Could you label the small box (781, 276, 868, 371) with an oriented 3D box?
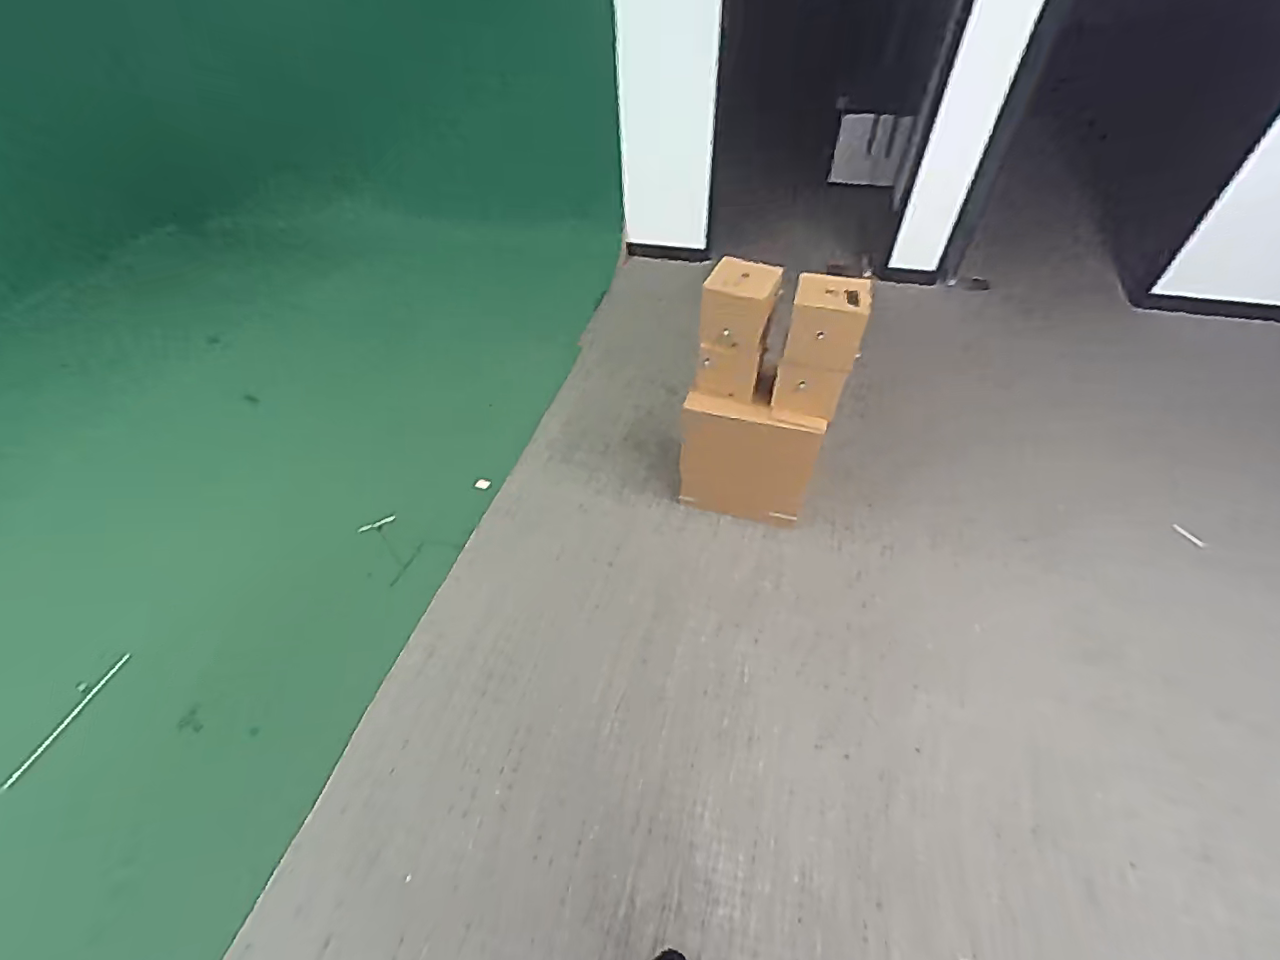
[{"bbox_3d":[0.472,-0.401,1.394,0.179,0.176,0.168,11,50,13],"label":"small box"}]
